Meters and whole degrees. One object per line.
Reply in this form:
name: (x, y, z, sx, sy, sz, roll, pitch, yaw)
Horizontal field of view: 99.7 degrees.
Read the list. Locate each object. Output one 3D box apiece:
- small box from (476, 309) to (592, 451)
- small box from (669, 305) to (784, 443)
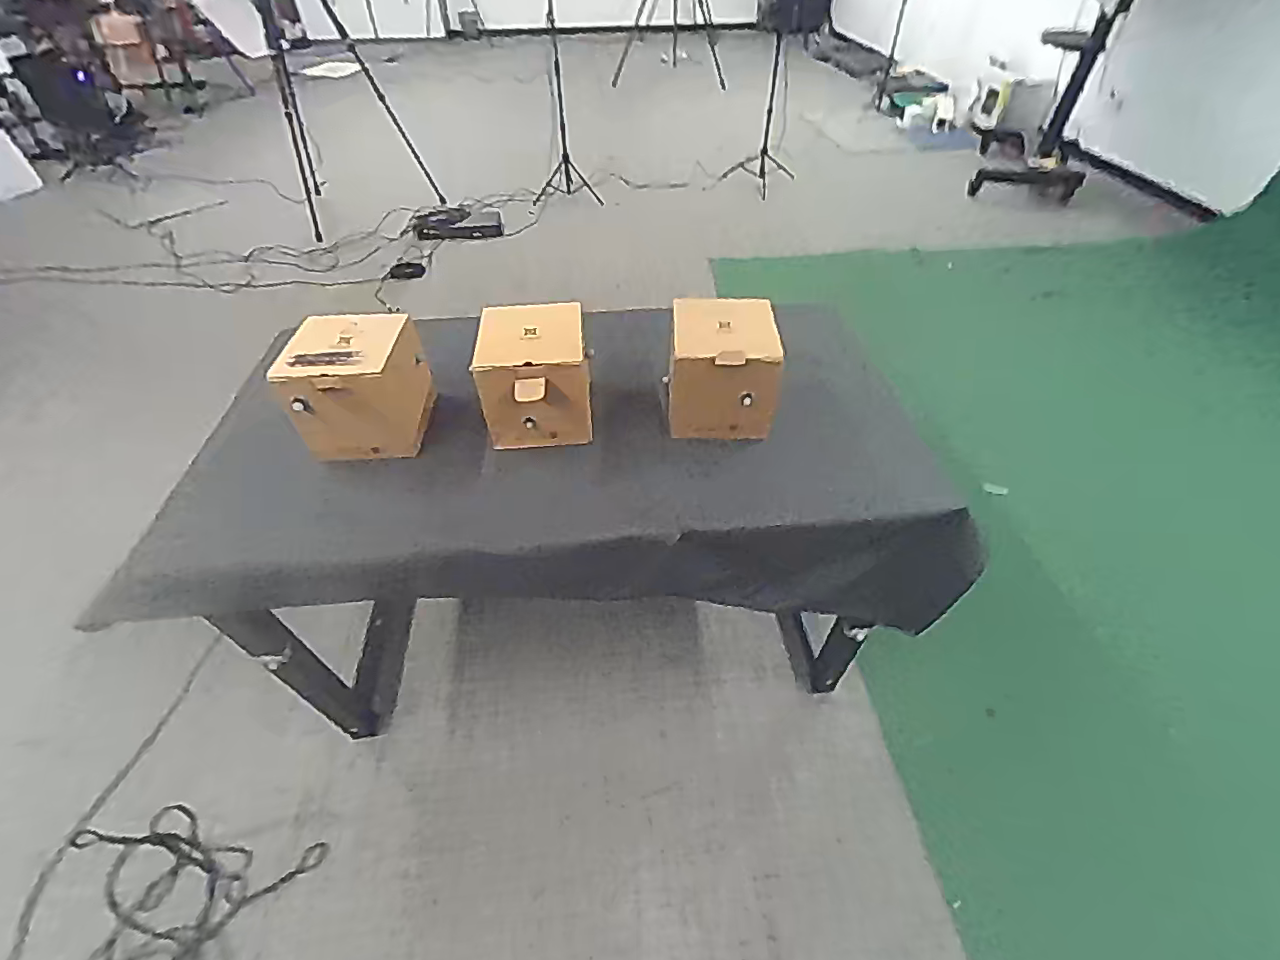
small box: (-0.169, -0.169, 0.914, 0.168, 0.176, 0.179, -4, 47, -4)
small box: (0.137, -0.178, 0.921, 0.168, 0.176, 0.179, 2, 46, 0)
